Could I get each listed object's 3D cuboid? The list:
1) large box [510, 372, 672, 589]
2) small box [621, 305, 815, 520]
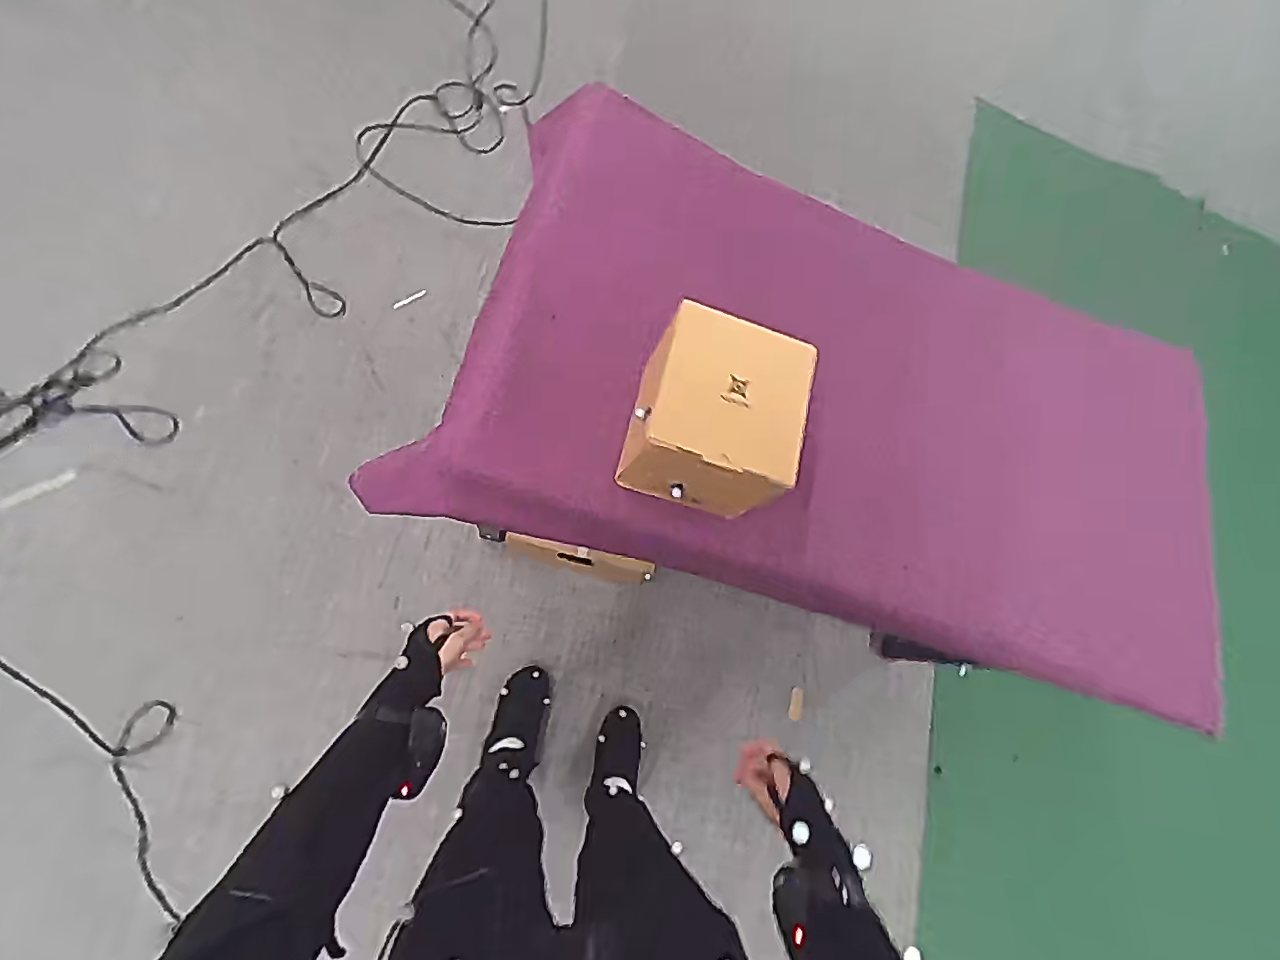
[{"bbox_3d":[-0.105,0.021,1.283,0.320,0.320,0.408,16,73,-8],"label":"large box"},{"bbox_3d":[0.085,-0.068,0.648,0.168,0.176,0.179,17,71,-9],"label":"small box"}]
